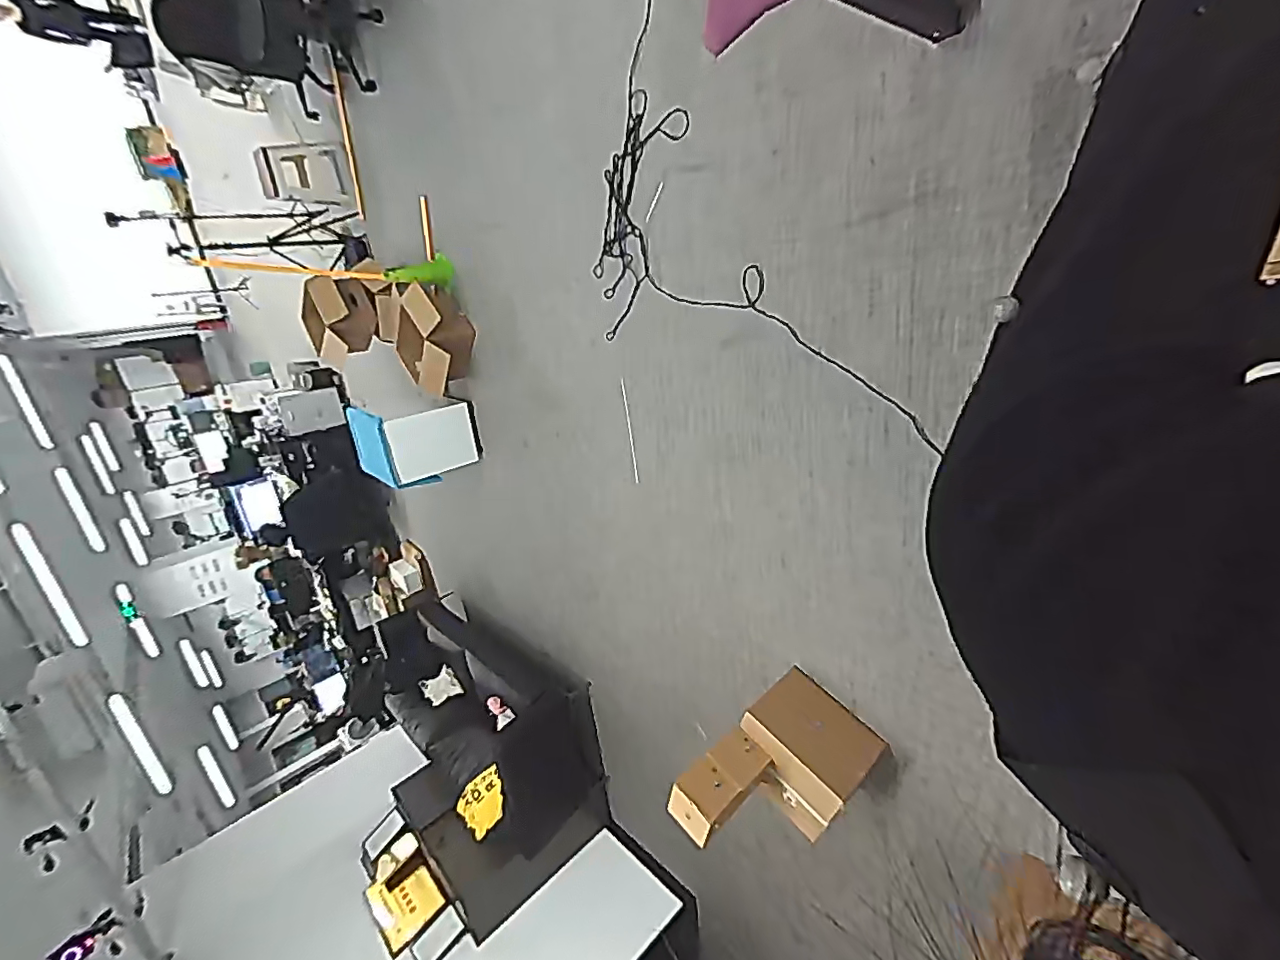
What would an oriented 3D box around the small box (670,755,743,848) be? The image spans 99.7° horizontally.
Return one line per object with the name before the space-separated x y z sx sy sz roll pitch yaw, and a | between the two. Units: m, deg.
small box | 0.226 1.079 1.824 0.168 0.176 0.179 34 132 35
